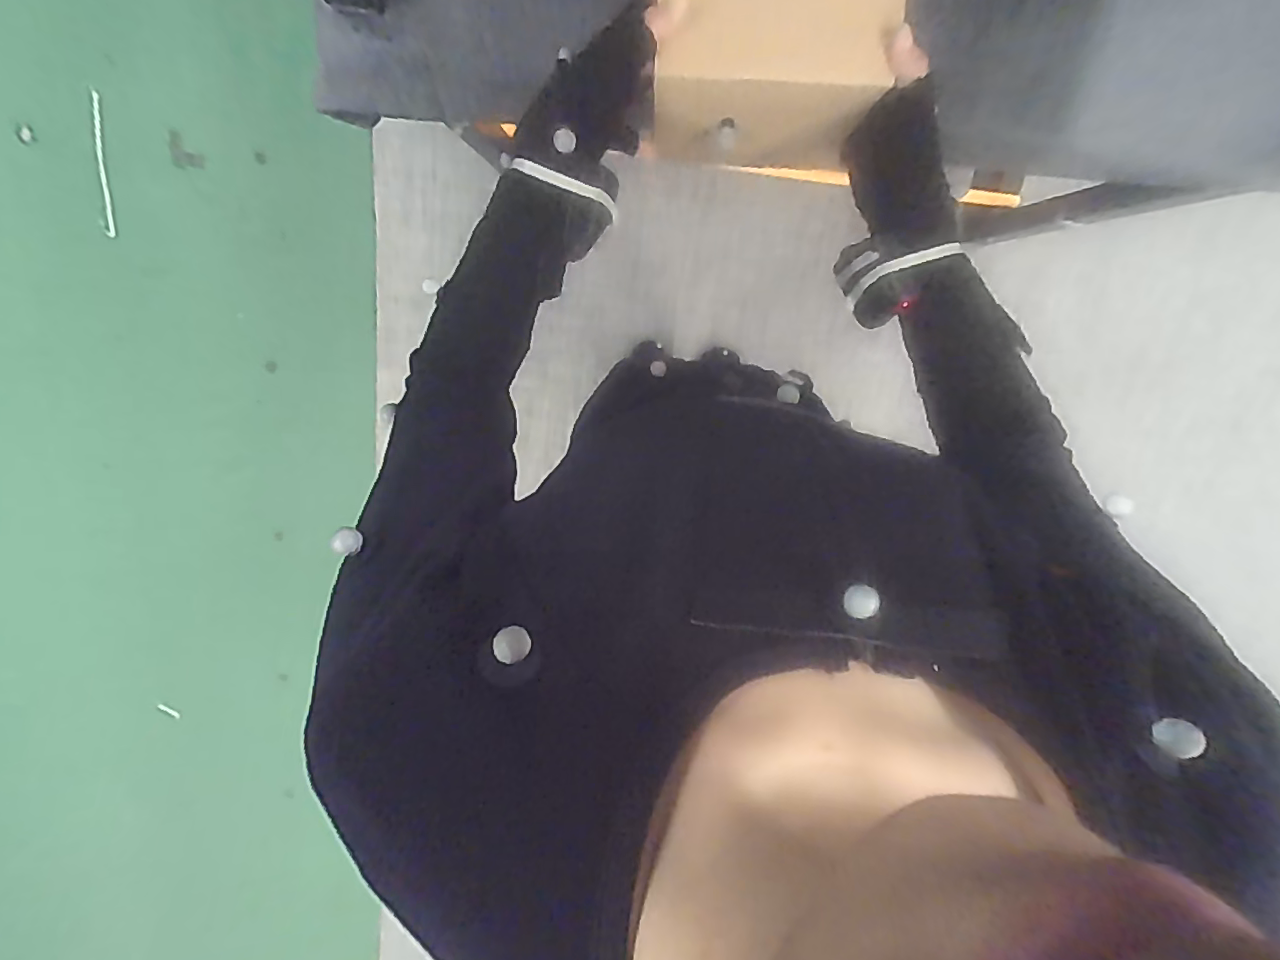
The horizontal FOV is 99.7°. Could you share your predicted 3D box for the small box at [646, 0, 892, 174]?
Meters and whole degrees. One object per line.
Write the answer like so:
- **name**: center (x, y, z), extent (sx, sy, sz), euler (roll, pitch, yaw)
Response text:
- **small box**: center (0.094, -0.372, 0.440), extent (0.168, 0.176, 0.179), euler (3, 100, 1)
